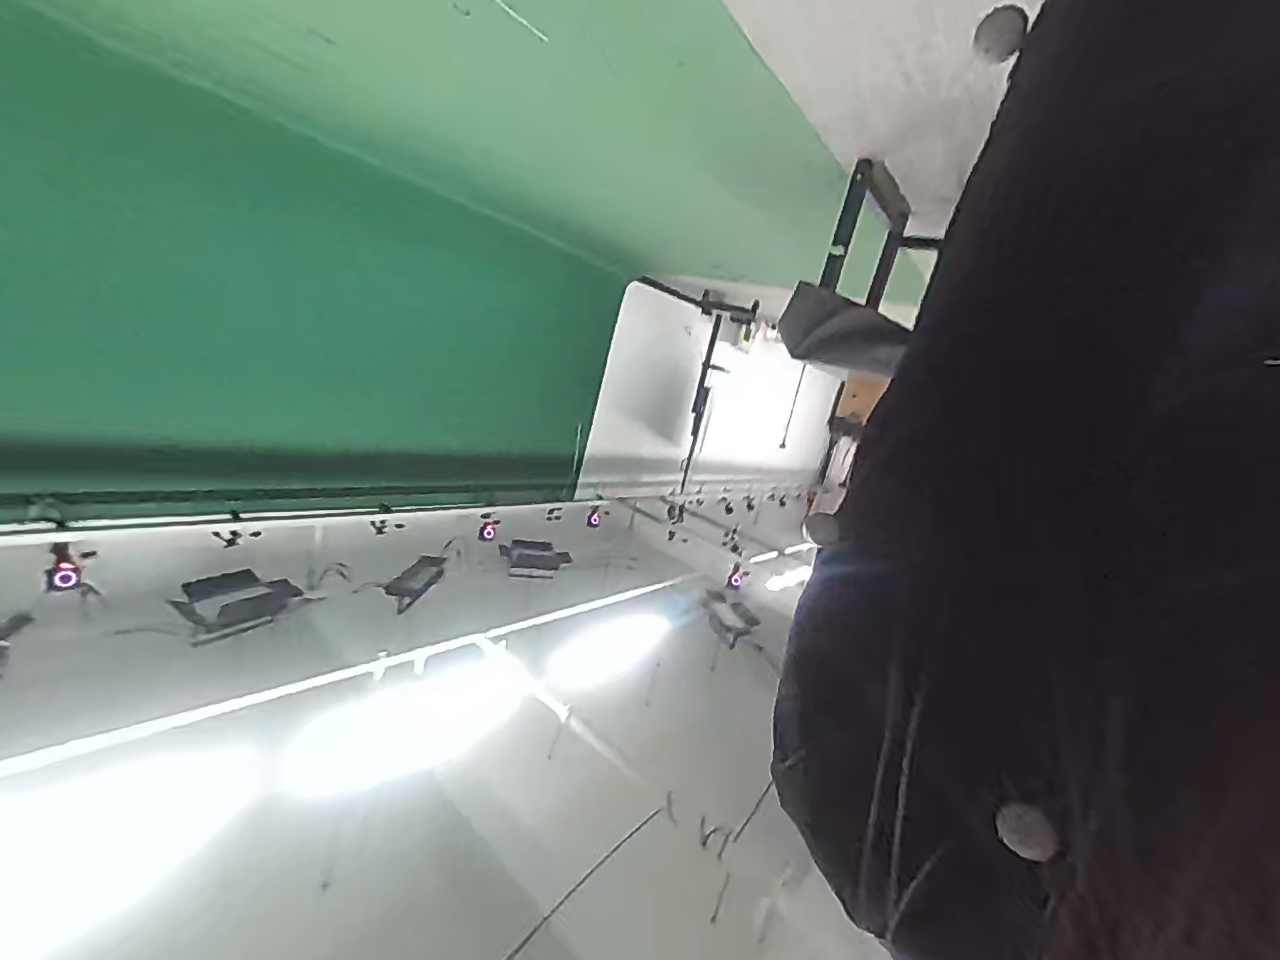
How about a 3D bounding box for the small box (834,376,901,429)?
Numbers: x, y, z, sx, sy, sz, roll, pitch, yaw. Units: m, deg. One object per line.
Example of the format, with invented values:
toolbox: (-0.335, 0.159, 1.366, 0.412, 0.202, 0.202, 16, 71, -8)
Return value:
small box: (0.913, -0.314, 2.170, 0.179, 0.176, 0.168, 1, -161, -45)
